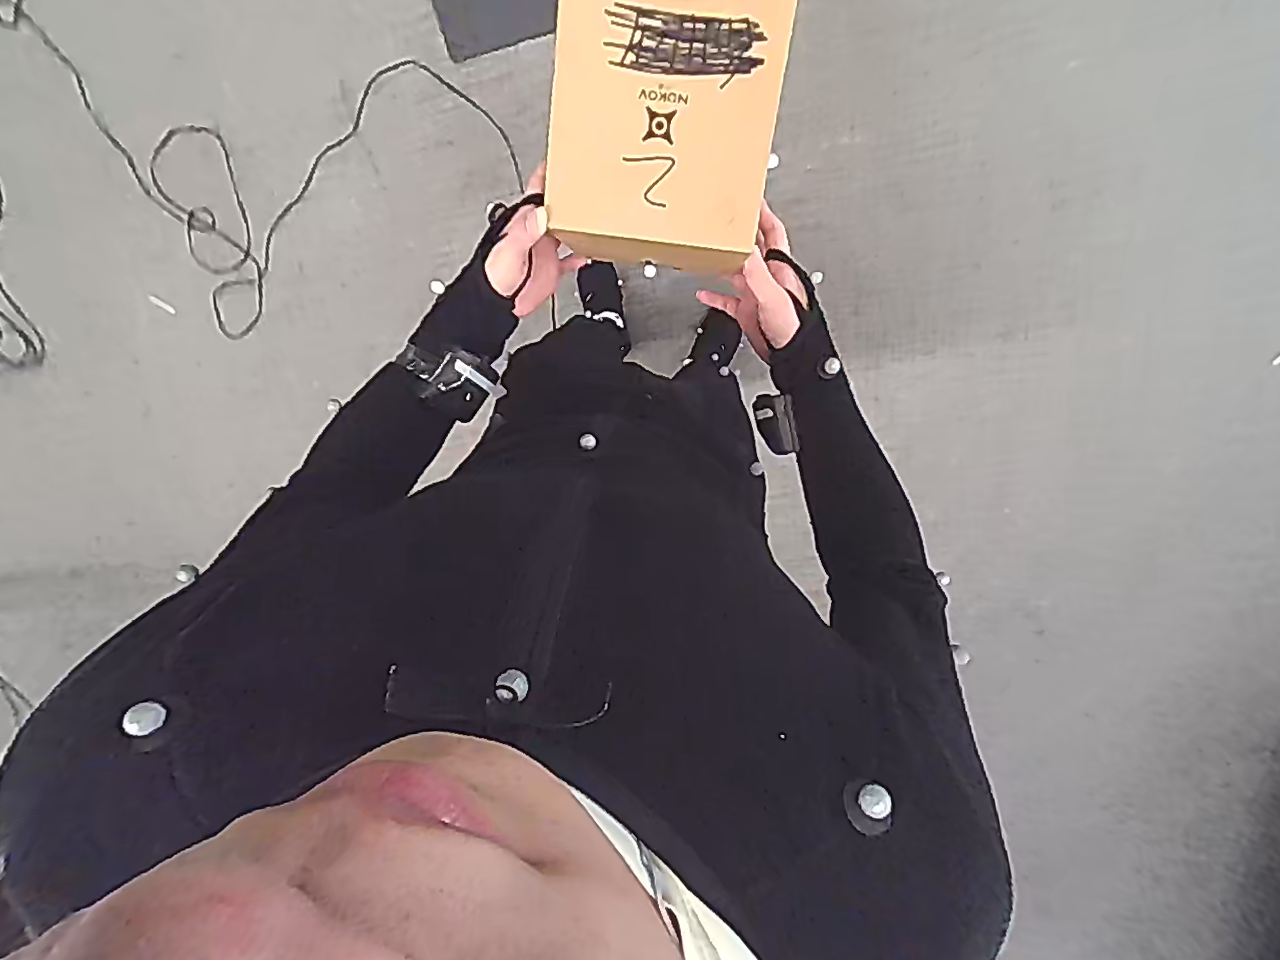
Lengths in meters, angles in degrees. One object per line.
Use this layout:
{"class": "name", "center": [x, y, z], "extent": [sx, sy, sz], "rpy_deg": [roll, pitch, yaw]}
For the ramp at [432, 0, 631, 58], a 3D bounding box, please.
{"class": "ramp", "center": [-0.342, -1.497, 1.049], "extent": [0.509, 0.206, 0.991], "rpy_deg": [-9, 110, 12]}
